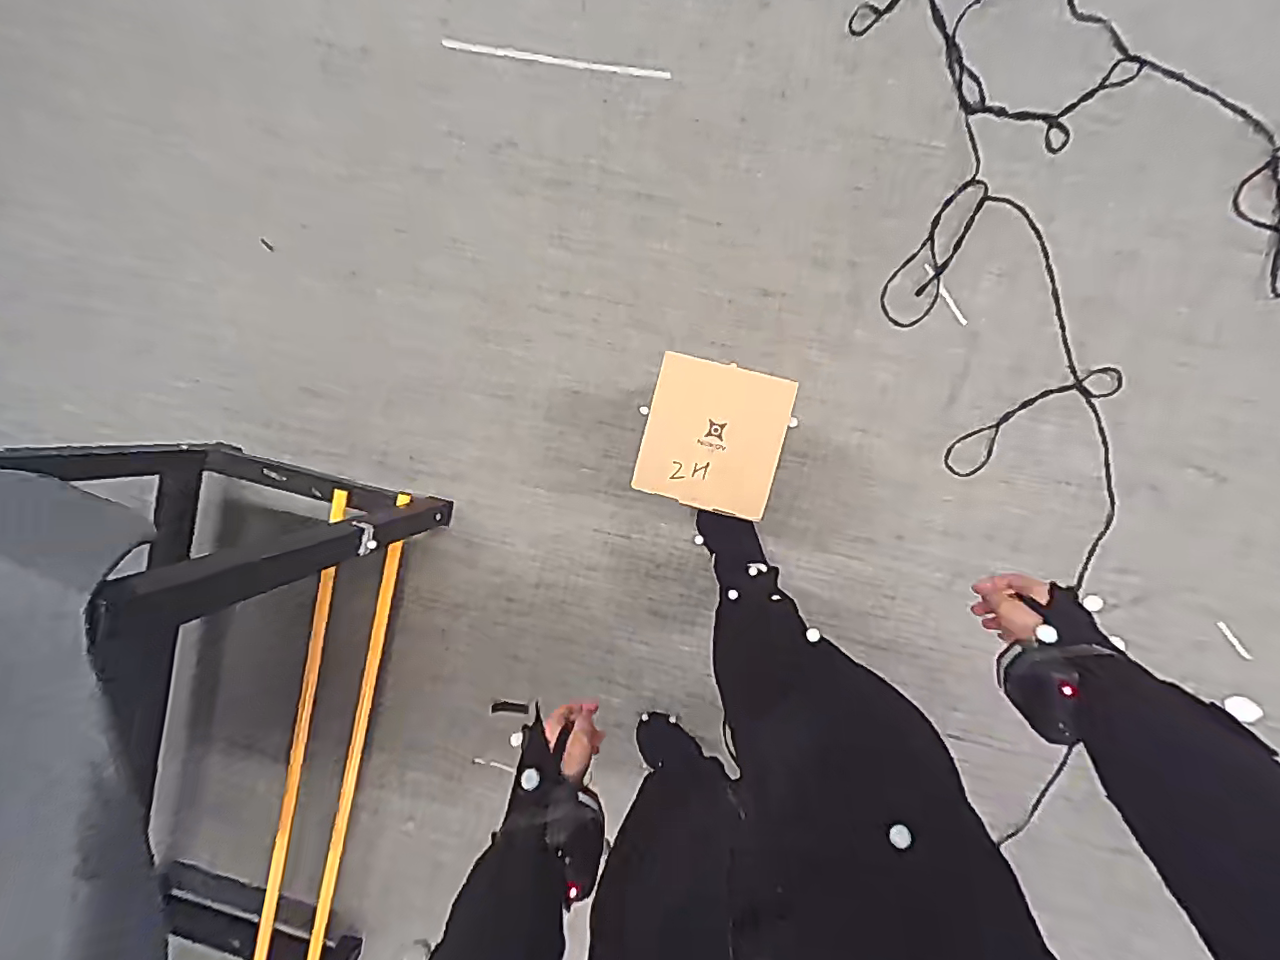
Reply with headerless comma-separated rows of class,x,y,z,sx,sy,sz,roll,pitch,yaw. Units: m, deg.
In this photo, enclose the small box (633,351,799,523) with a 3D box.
small box,0.096,-0.058,0.726,0.168,0.176,0.179,15,97,5
